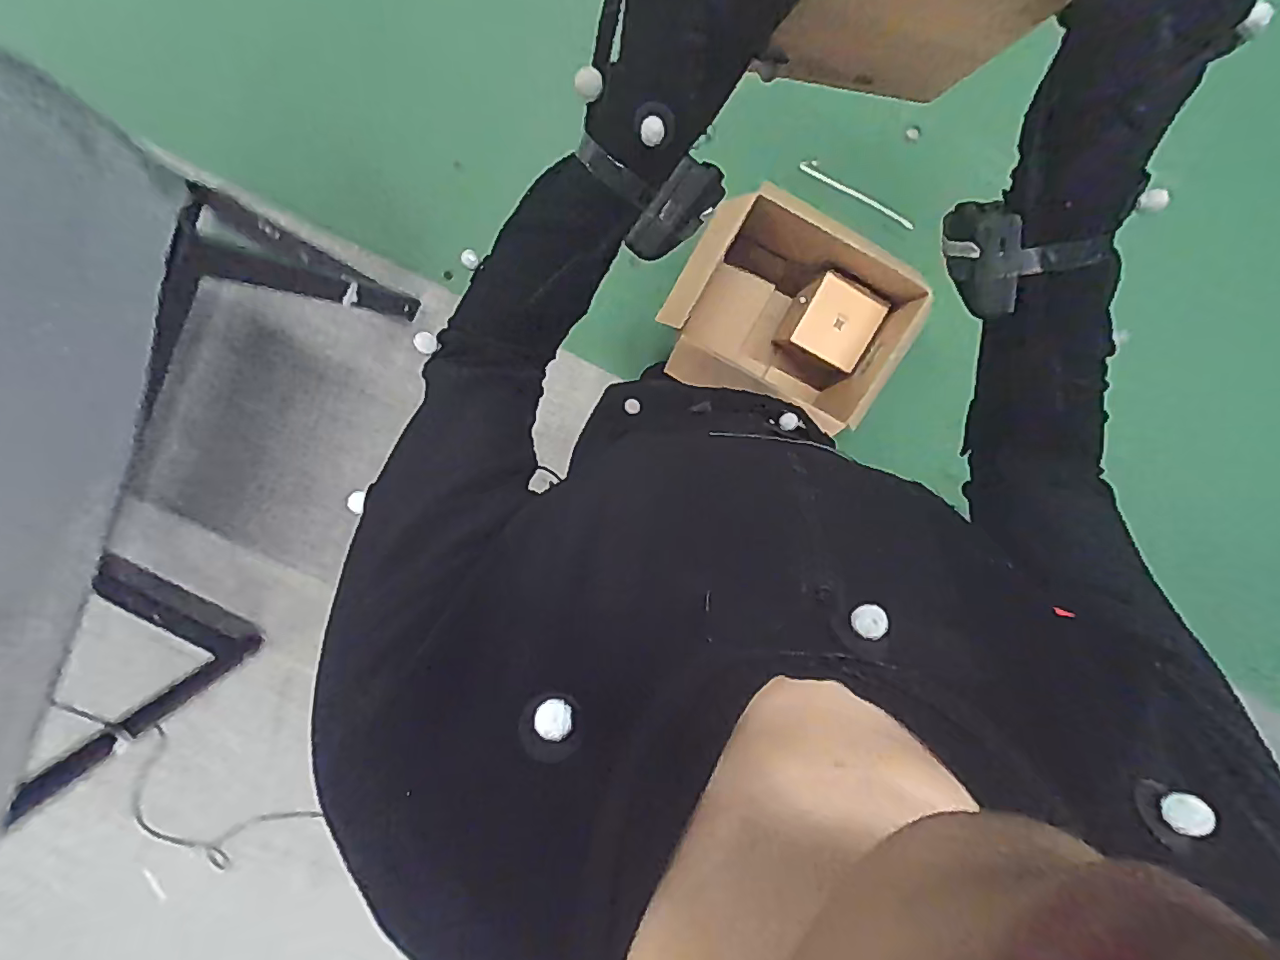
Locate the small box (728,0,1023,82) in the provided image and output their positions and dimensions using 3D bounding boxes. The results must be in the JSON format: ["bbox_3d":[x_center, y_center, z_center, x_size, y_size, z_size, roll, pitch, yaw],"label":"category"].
[{"bbox_3d":[0.152,-0.360,0.301,0.168,0.176,0.179,7,106,-3],"label":"small box"}]
